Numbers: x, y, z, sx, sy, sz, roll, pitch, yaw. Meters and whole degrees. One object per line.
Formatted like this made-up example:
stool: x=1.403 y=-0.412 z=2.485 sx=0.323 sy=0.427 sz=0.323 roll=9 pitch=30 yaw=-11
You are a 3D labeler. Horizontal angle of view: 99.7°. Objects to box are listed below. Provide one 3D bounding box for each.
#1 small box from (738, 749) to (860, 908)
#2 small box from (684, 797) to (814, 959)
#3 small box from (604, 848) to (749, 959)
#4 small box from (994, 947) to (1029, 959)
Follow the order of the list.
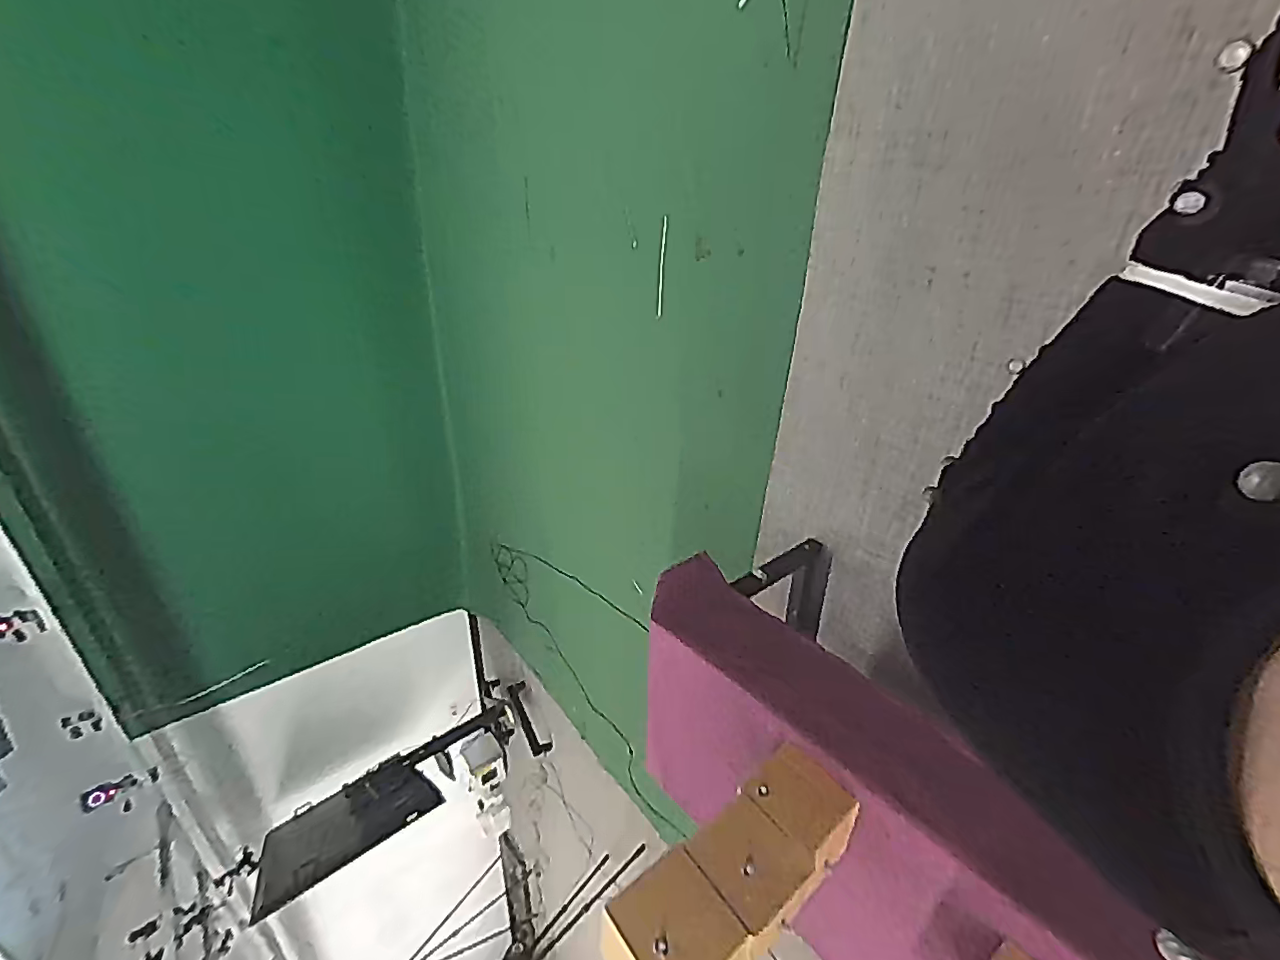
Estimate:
small box: x=0.315 y=0.690 z=1.093 sx=0.179 sy=0.176 sz=0.168 roll=30 pitch=128 yaw=44
small box: x=0.192 y=0.736 z=0.994 sx=0.179 sy=0.176 sz=0.168 roll=33 pitch=130 yaw=41
small box: x=0.058 y=0.775 z=0.905 sx=0.179 sy=0.176 sz=0.168 roll=35 pitch=132 yaw=42
small box: x=0.582 y=0.870 z=0.812 sx=0.168 sy=0.176 sz=0.179 roll=32 pitch=129 yaw=43
